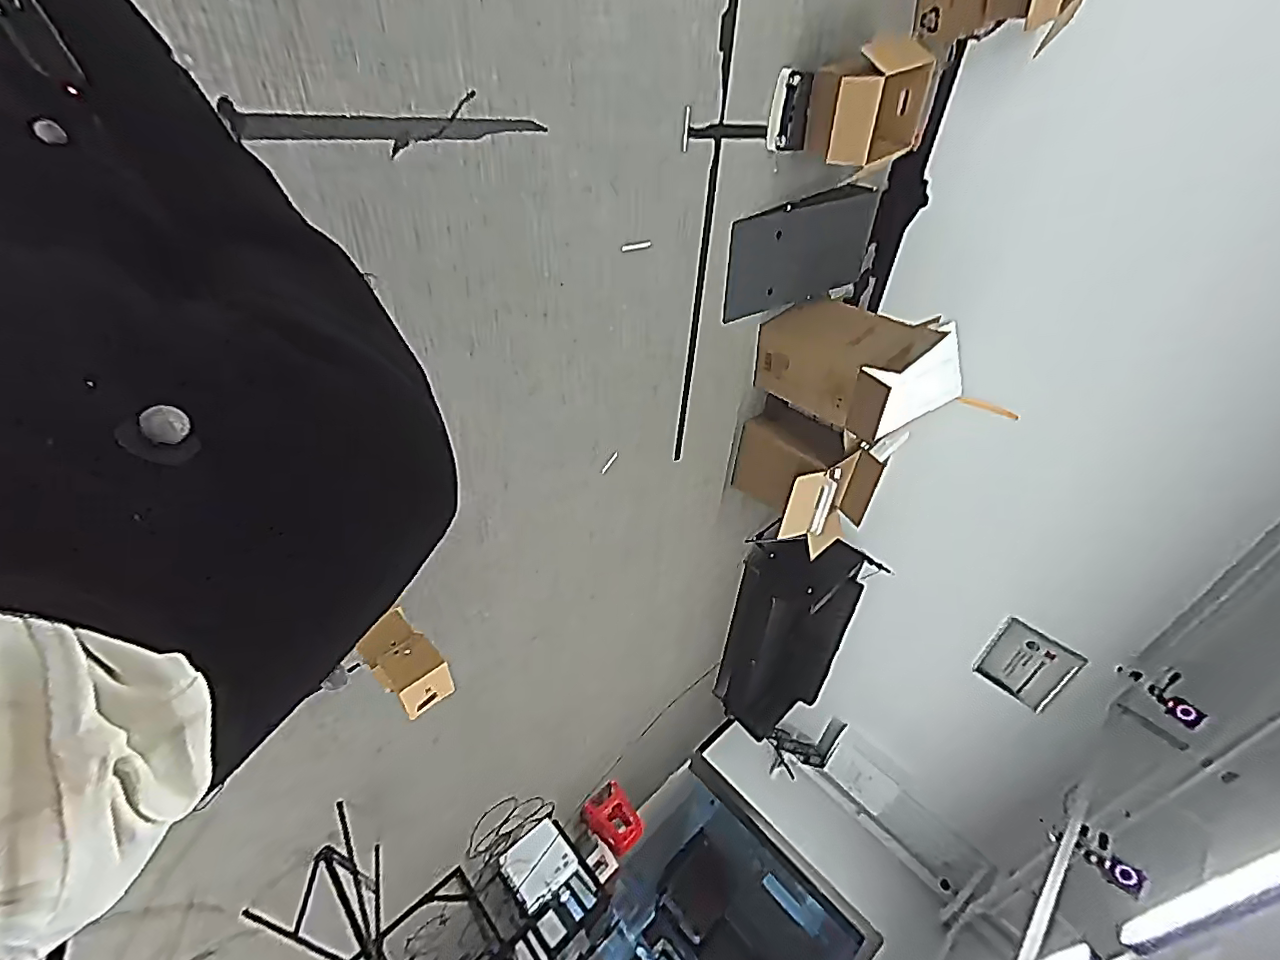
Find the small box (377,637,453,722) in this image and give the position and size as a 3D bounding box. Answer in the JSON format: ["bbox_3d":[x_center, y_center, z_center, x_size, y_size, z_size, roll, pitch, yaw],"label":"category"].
[{"bbox_3d":[-0.759,0.667,1.827,0.168,0.176,0.179,-30,139,-35],"label":"small box"}]

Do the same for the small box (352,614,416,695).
[{"bbox_3d":[-0.885,0.614,1.922,0.179,0.176,0.168,-32,141,-32],"label":"small box"}]

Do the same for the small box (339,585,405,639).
[{"bbox_3d":[-0.989,0.528,2.016,0.168,0.176,0.179,-31,140,-33],"label":"small box"}]
